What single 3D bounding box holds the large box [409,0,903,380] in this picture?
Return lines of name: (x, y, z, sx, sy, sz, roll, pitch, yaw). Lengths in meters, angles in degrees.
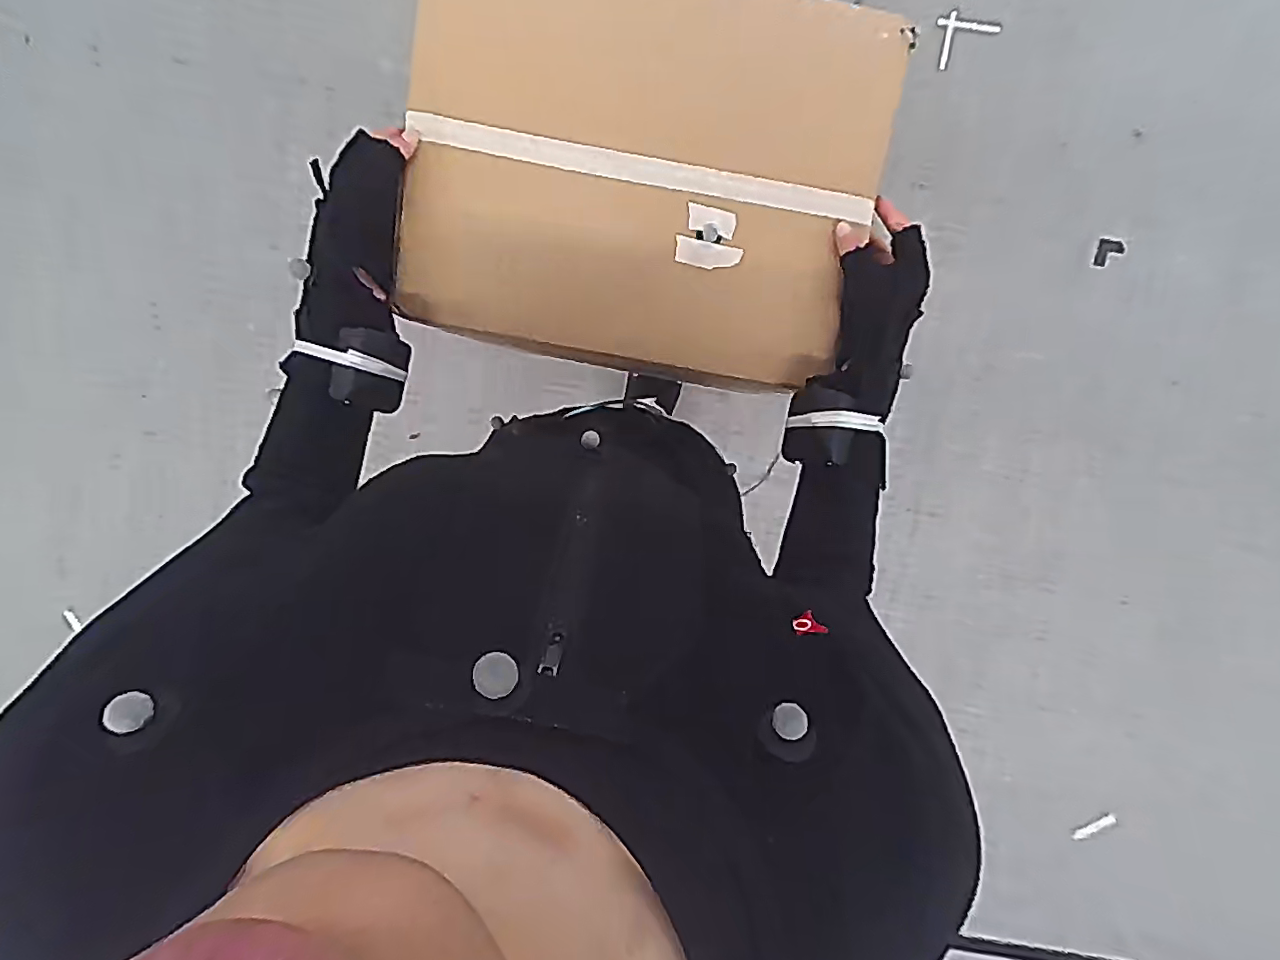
large box: (0.003, -0.302, 0.623, 0.408, 0.320, 0.320, 10, 100, -3)
